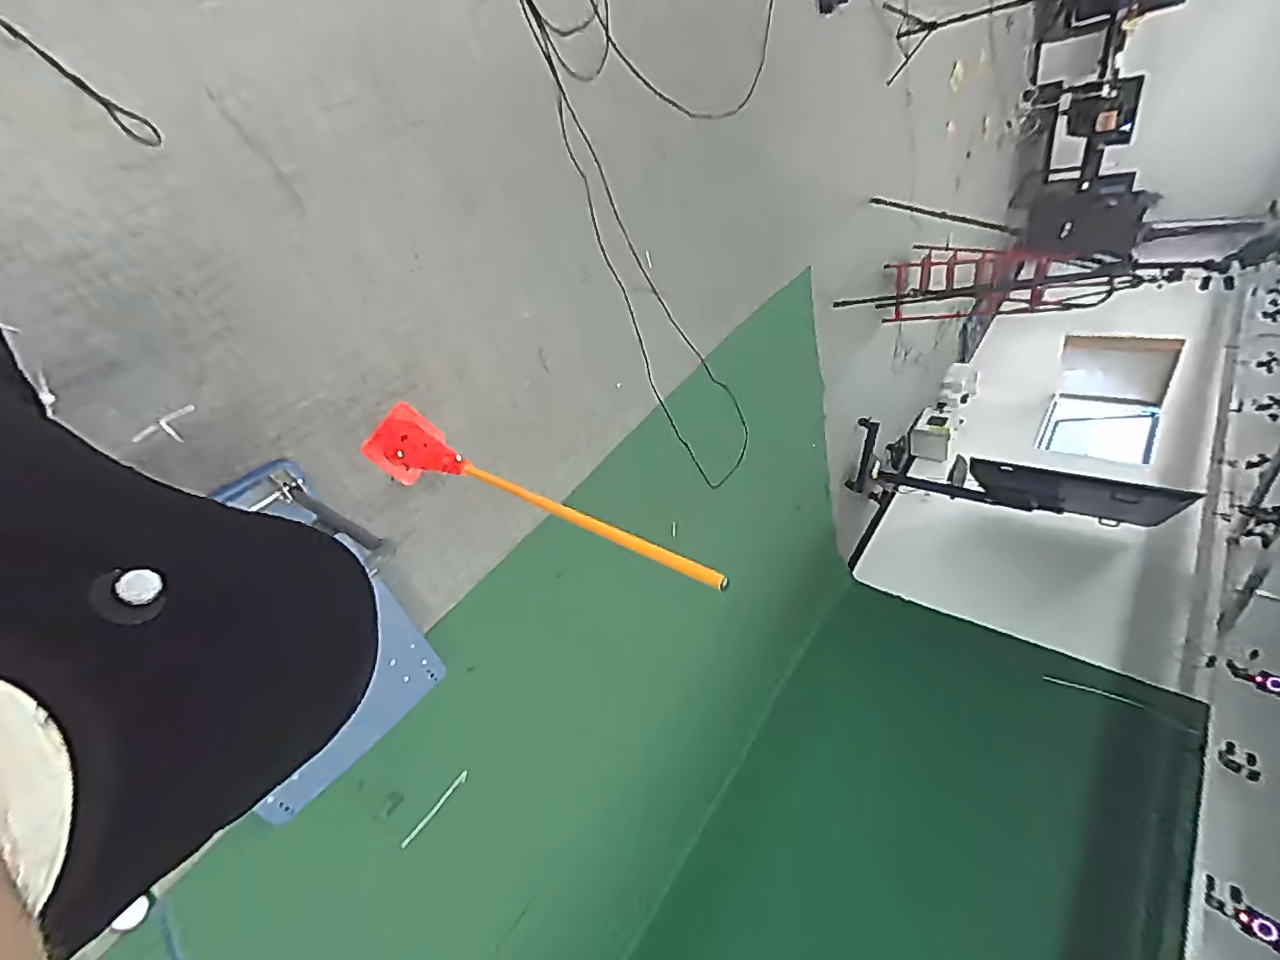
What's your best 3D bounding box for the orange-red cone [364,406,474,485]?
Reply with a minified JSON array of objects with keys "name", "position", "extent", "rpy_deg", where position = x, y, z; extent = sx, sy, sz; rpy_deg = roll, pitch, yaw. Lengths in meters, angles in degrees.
[{"name":"orange-red cone","position":[-0.598,-0.068,1.570],"extent":[0.199,0.360,0.198],"rpy_deg":[-59,140,-19]}]
